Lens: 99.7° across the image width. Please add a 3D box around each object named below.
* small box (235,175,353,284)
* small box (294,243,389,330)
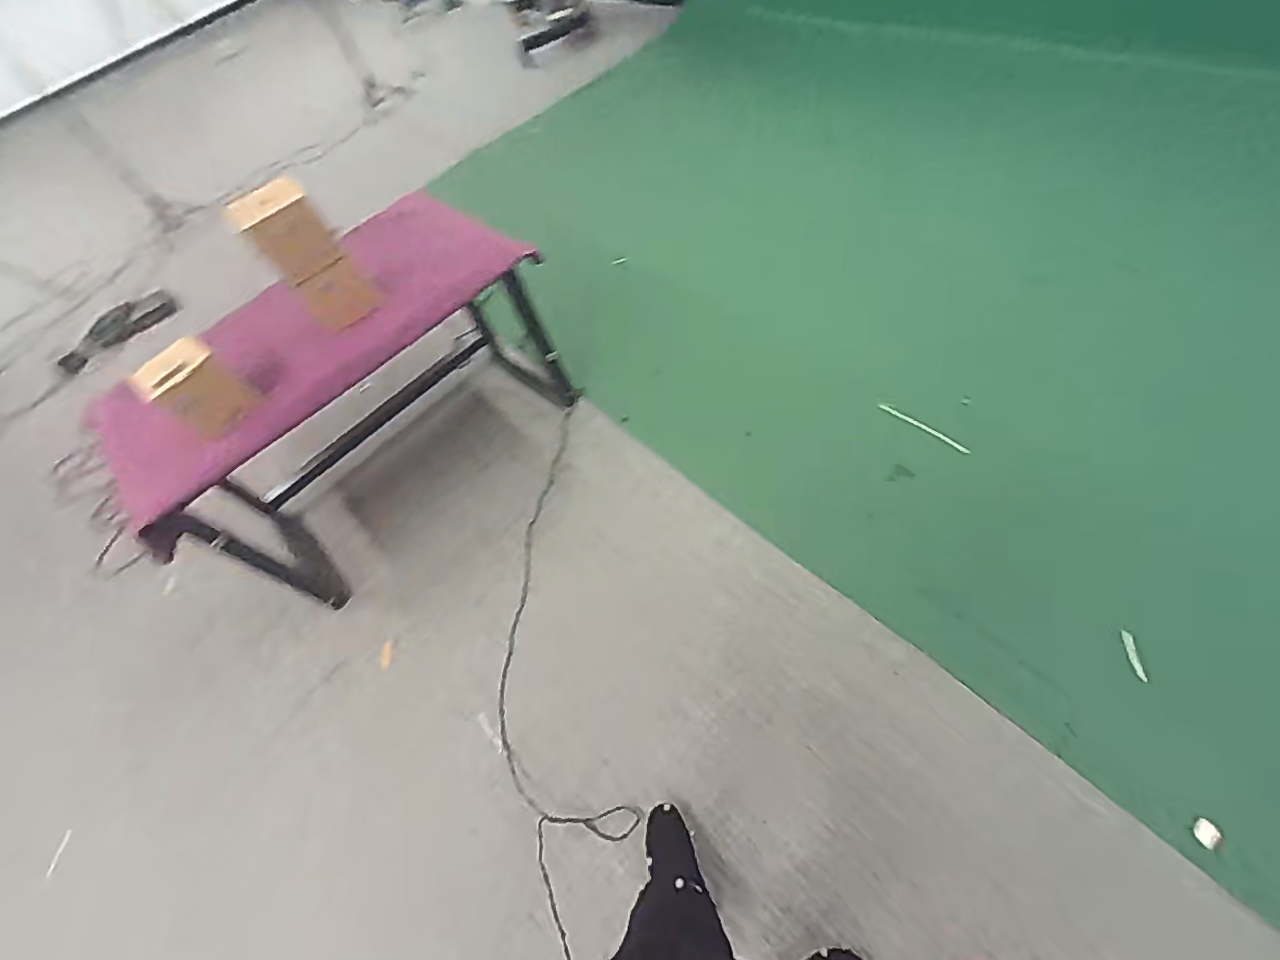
[{"bbox_3d":[-0.888,-0.643,1.397,0.179,0.176,0.168,-37,58,-11],"label":"small box"},{"bbox_3d":[-0.855,-0.560,1.533,0.179,0.176,0.168,-36,57,-10],"label":"small box"}]
